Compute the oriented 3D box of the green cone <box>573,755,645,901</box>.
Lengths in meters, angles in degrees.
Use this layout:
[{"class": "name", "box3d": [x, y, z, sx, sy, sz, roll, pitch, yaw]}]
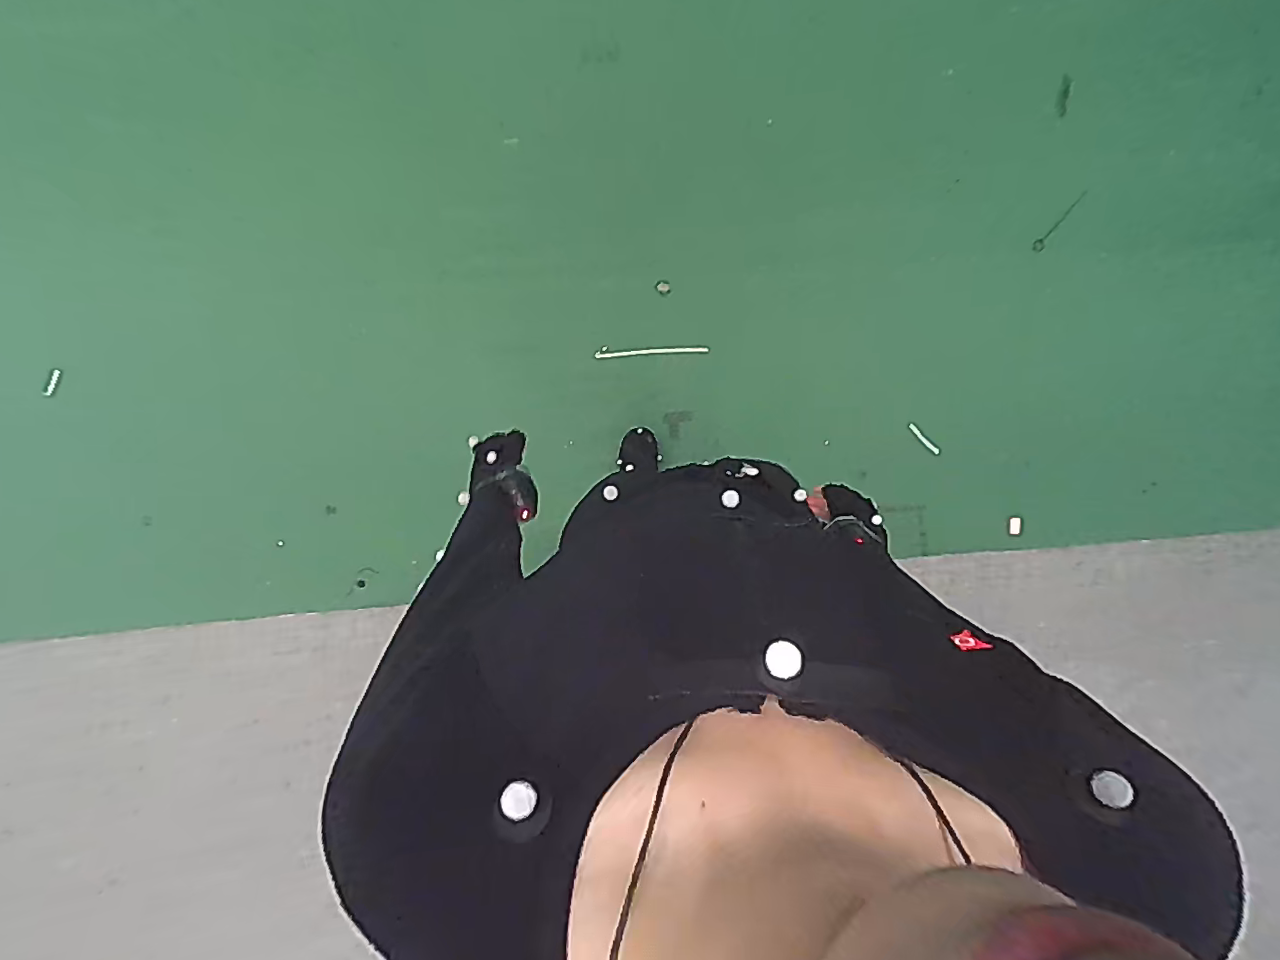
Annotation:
[{"class": "green cone", "box3d": [-0.084, 0.896, 1.370, 0.200, 0.368, 0.202, -3, 94, -2]}]
